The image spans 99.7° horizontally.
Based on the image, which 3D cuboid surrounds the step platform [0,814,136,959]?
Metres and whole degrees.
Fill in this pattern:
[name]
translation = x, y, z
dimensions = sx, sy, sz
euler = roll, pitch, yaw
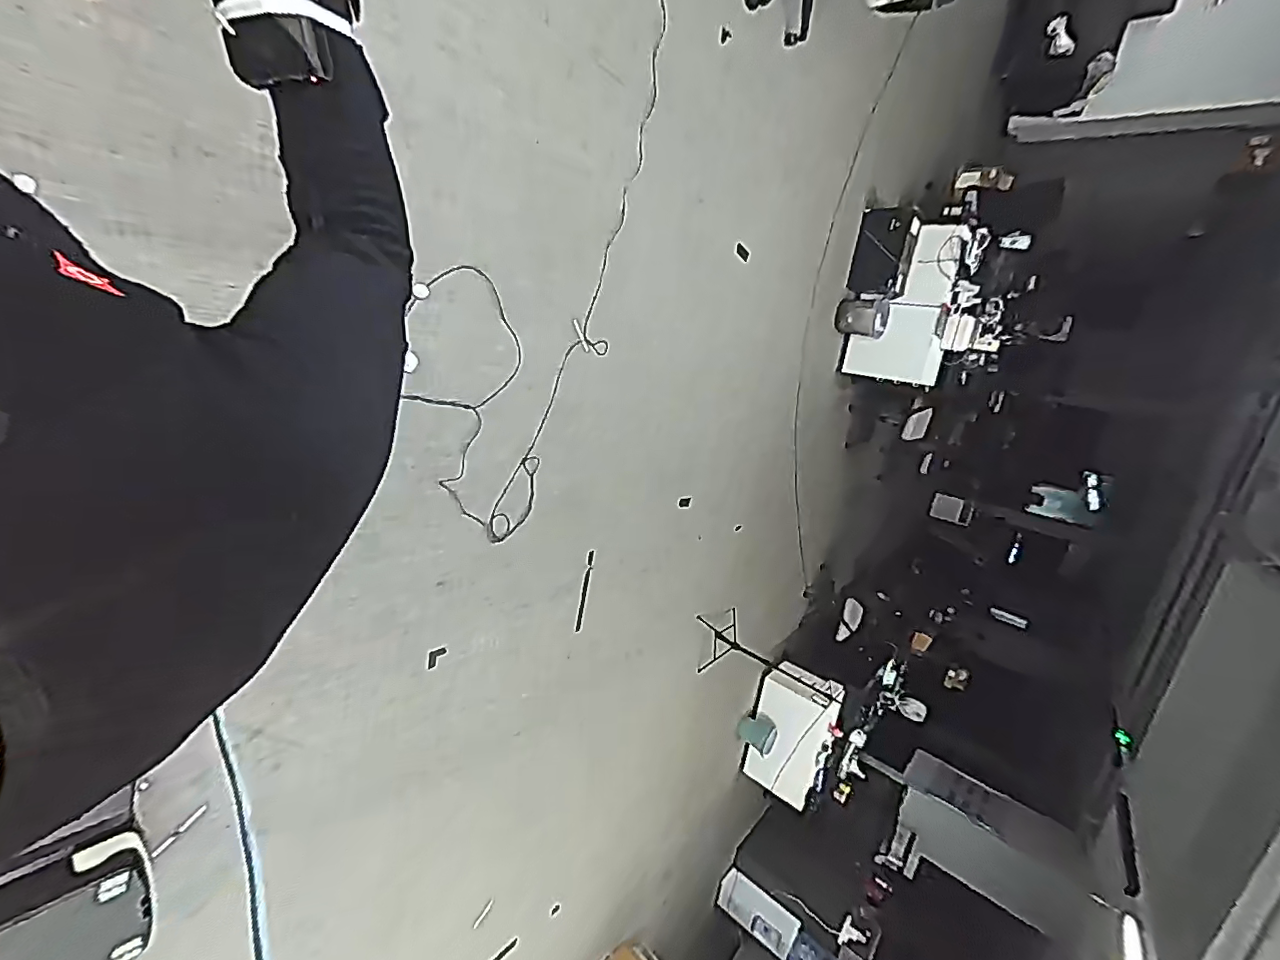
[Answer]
[step platform]
translation = -1.421, 0.977, 1.024
dimensions = 0.684, 0.204, 0.286
euler = -11, 114, -48
